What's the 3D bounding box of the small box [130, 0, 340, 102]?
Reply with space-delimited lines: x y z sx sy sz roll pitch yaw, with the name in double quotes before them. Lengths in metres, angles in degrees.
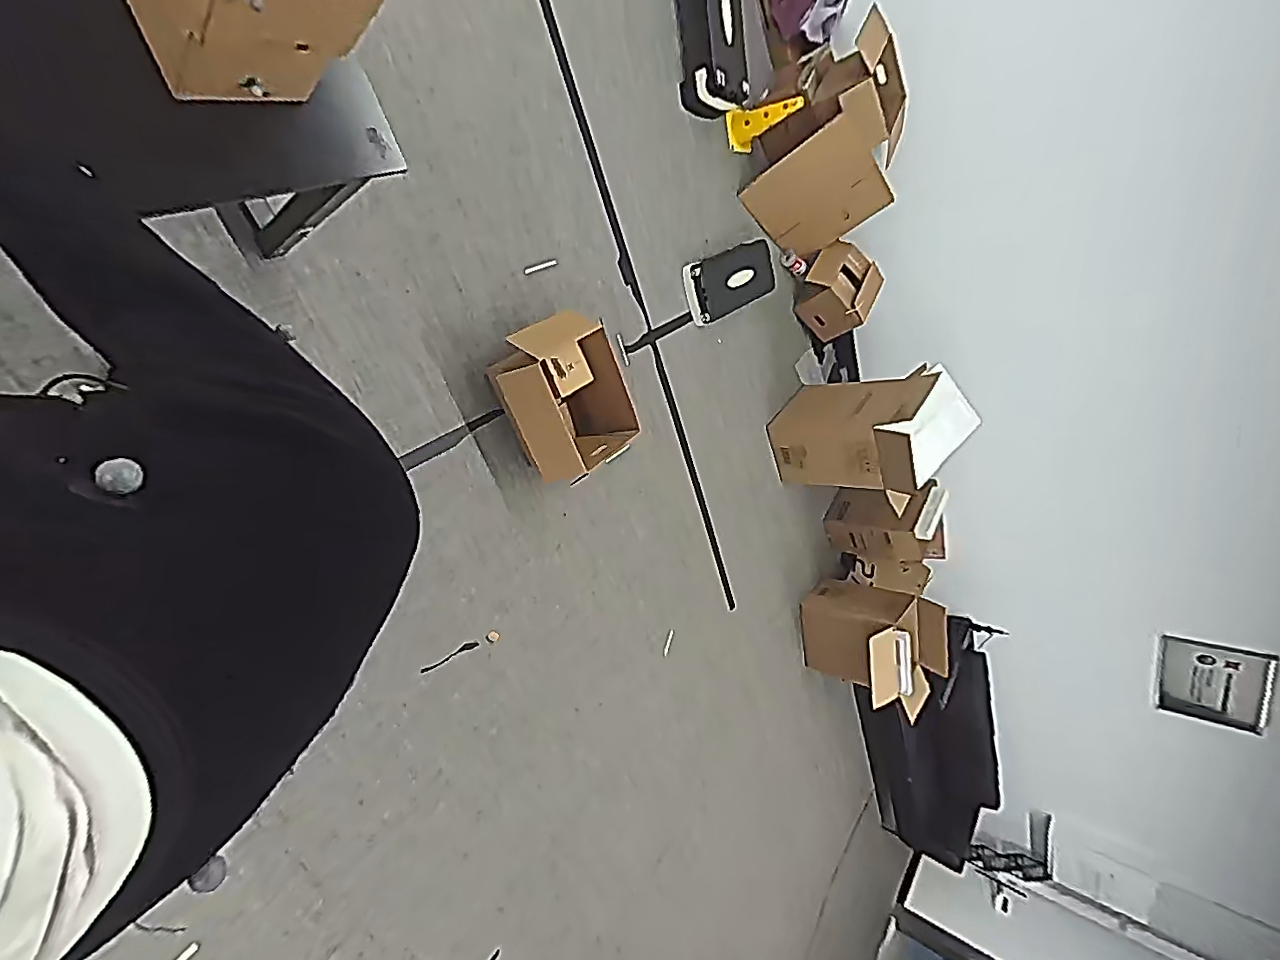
"small box" -0.511 -0.597 0.659 0.168 0.176 0.179 -33 117 -39
